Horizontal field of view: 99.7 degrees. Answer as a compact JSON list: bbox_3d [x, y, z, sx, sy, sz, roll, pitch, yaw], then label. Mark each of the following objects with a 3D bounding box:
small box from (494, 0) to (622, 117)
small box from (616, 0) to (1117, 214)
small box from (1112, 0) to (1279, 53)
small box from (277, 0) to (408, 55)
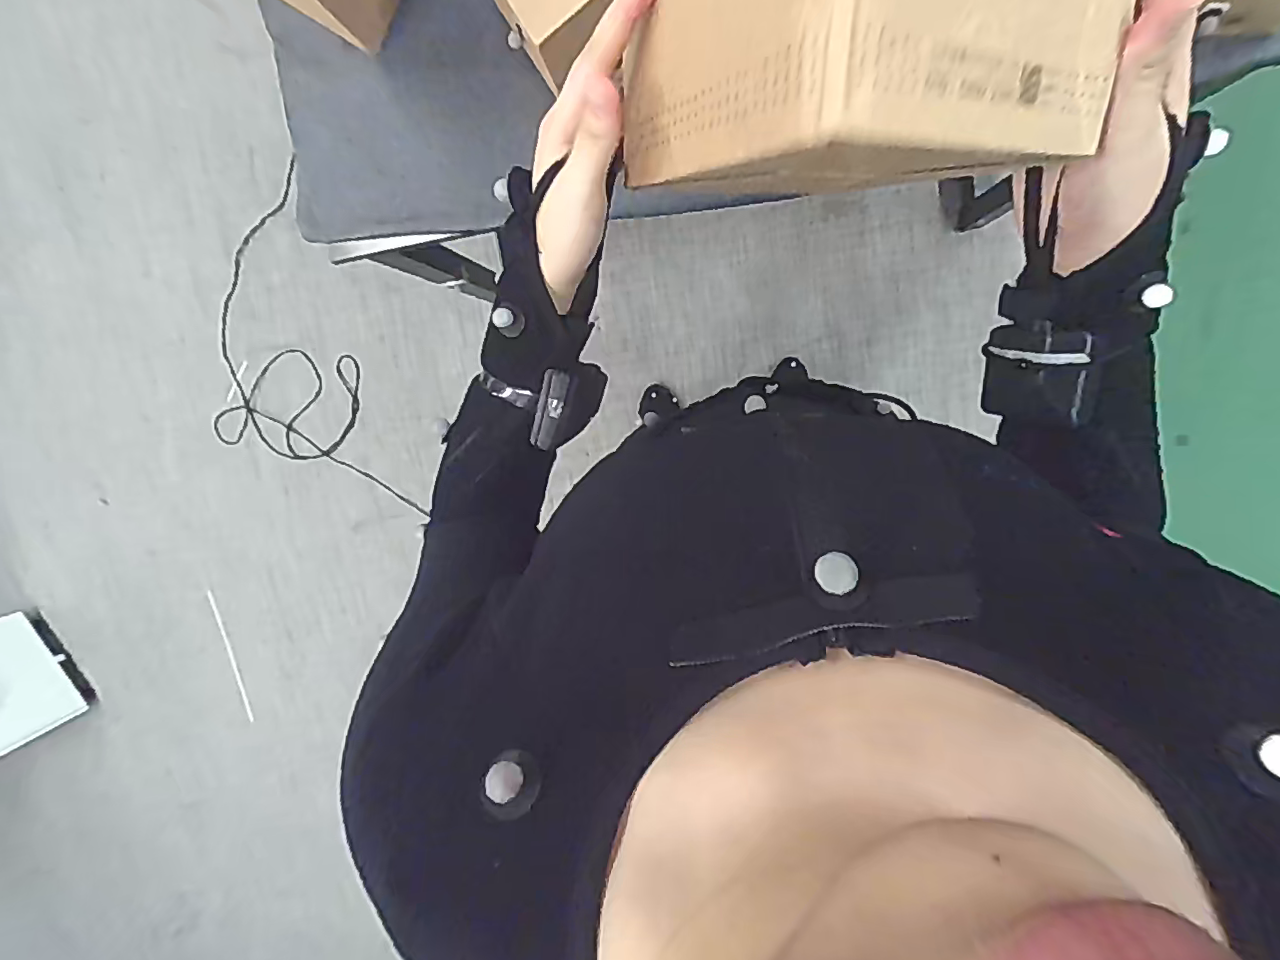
[{"bbox_3d":[-0.070,-0.543,0.592,0.168,0.176,0.179,-33,94,11],"label":"small box"},{"bbox_3d":[0.097,-0.229,0.258,0.168,0.179,0.176,-14,117,-22],"label":"small box"},{"bbox_3d":[0.587,-0.548,0.500,0.168,0.176,0.179,1,96,9],"label":"small box"},{"bbox_3d":[-0.382,-0.644,0.616,0.179,0.176,0.168,32,102,1],"label":"small box"}]
